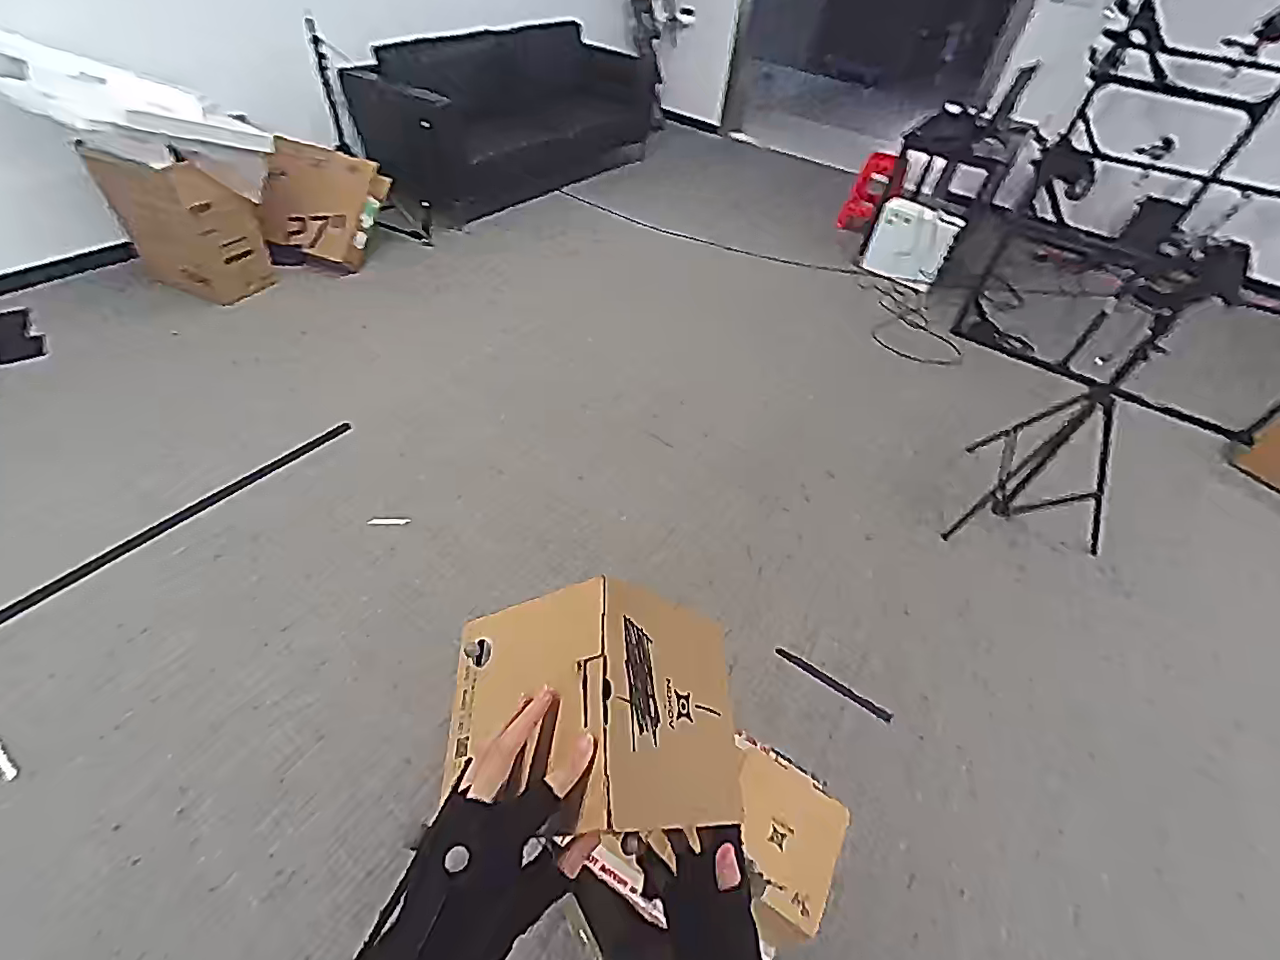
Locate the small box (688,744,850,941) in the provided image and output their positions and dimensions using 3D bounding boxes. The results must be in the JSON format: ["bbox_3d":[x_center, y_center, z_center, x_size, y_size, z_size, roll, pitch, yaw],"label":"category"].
[{"bbox_3d":[0.189,0.550,0.822,0.168,0.176,0.179,28,48,16],"label":"small box"}]

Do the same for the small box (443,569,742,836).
[{"bbox_3d":[-0.040,0.196,0.457,0.176,0.179,0.168,-24,53,29],"label":"small box"}]
